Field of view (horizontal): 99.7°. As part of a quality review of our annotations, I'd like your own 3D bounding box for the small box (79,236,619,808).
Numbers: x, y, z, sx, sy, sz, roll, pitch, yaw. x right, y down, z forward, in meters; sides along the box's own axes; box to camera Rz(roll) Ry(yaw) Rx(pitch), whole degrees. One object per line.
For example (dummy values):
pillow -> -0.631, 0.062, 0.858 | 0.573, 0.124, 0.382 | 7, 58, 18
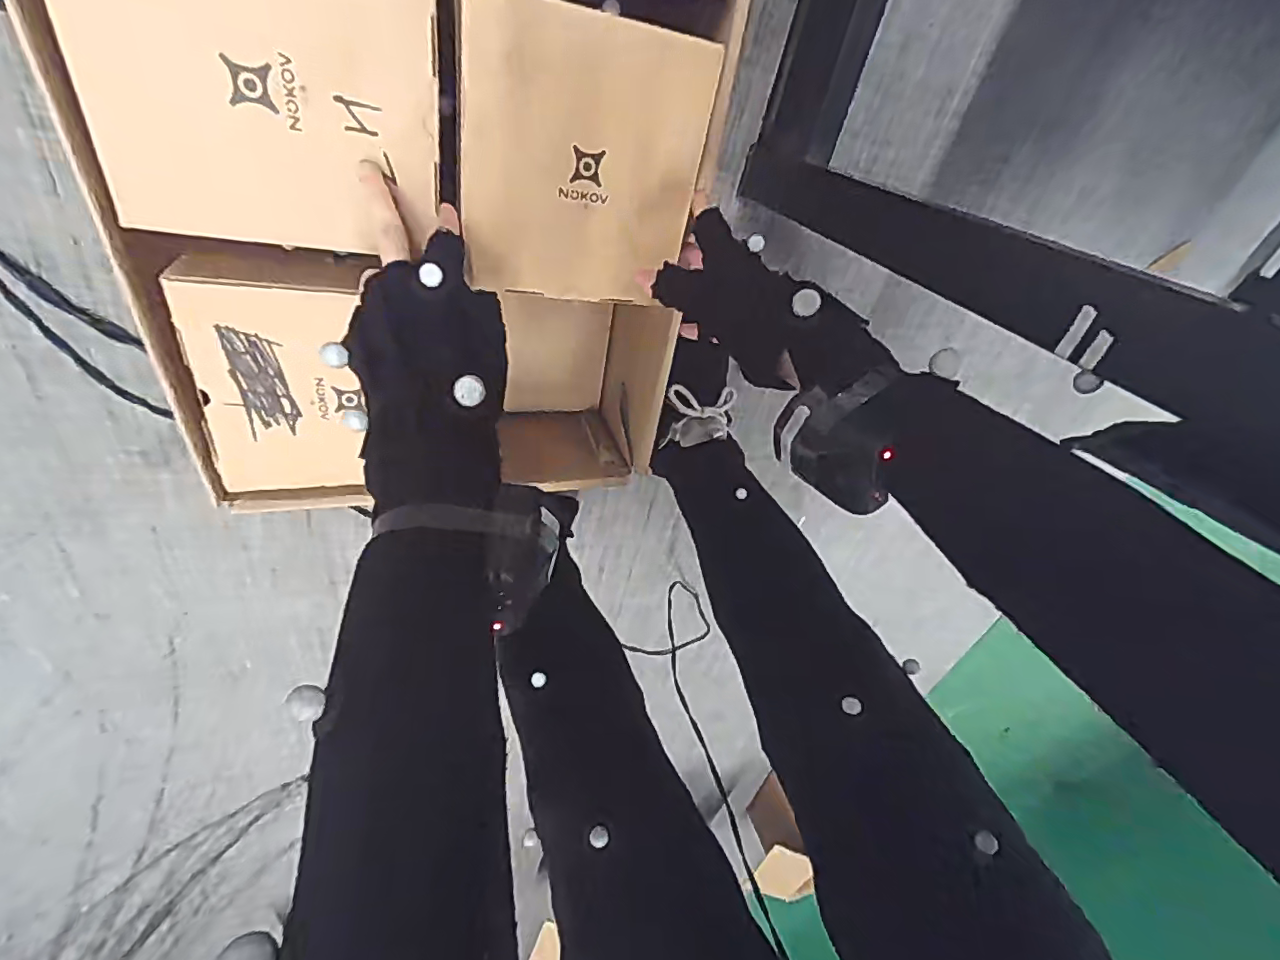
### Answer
small box -> -0.150, 0.013, 0.269 | 0.176, 0.179, 0.168 | 2, 132, -49
